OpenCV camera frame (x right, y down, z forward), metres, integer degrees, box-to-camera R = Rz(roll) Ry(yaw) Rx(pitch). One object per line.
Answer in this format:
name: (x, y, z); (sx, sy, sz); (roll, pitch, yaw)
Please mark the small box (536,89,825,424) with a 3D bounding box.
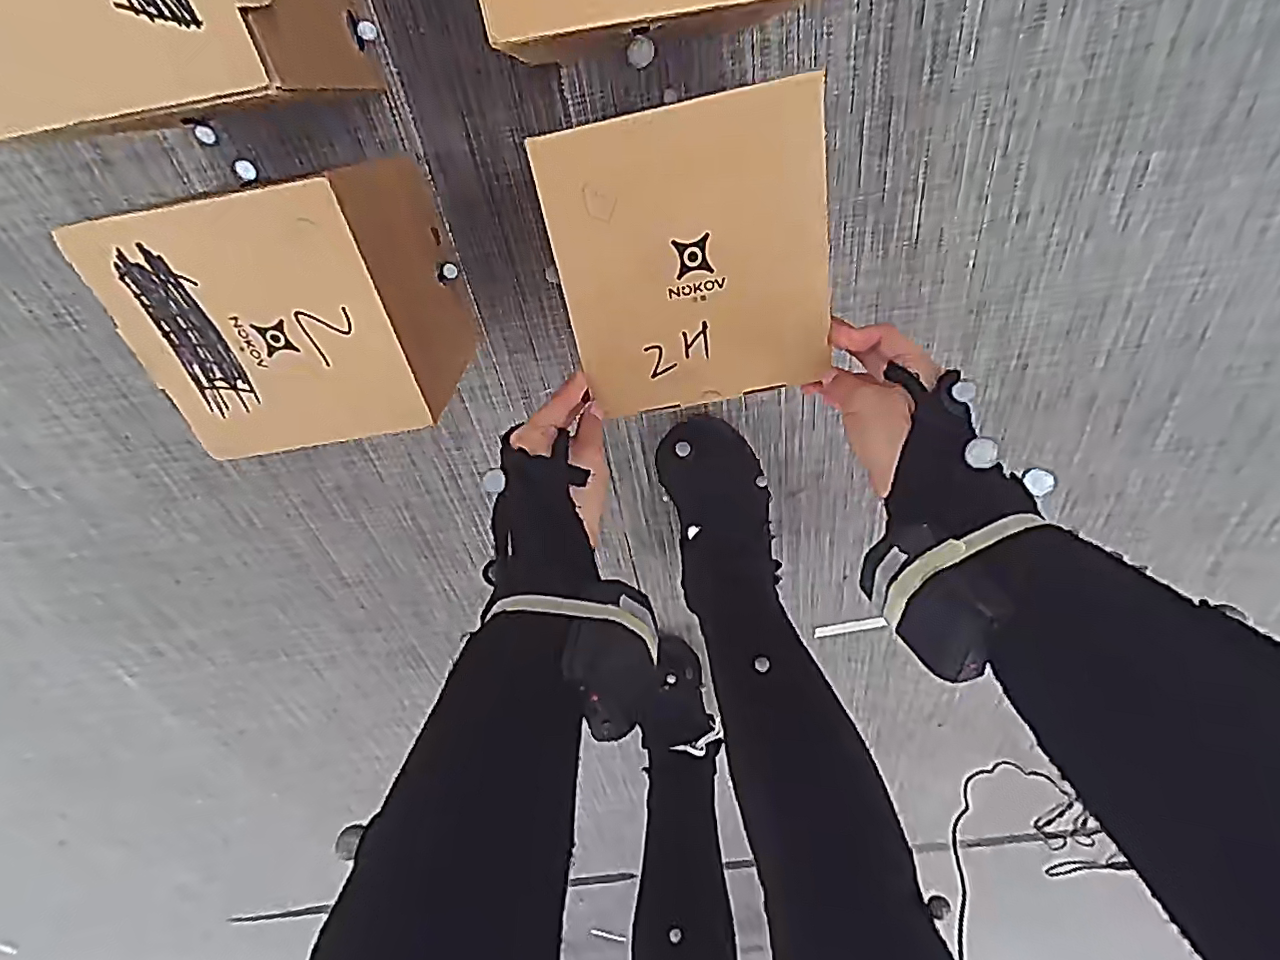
small box: (0.033, -0.165, 0.412); (0.168, 0.176, 0.179); (-9, 120, 6)
